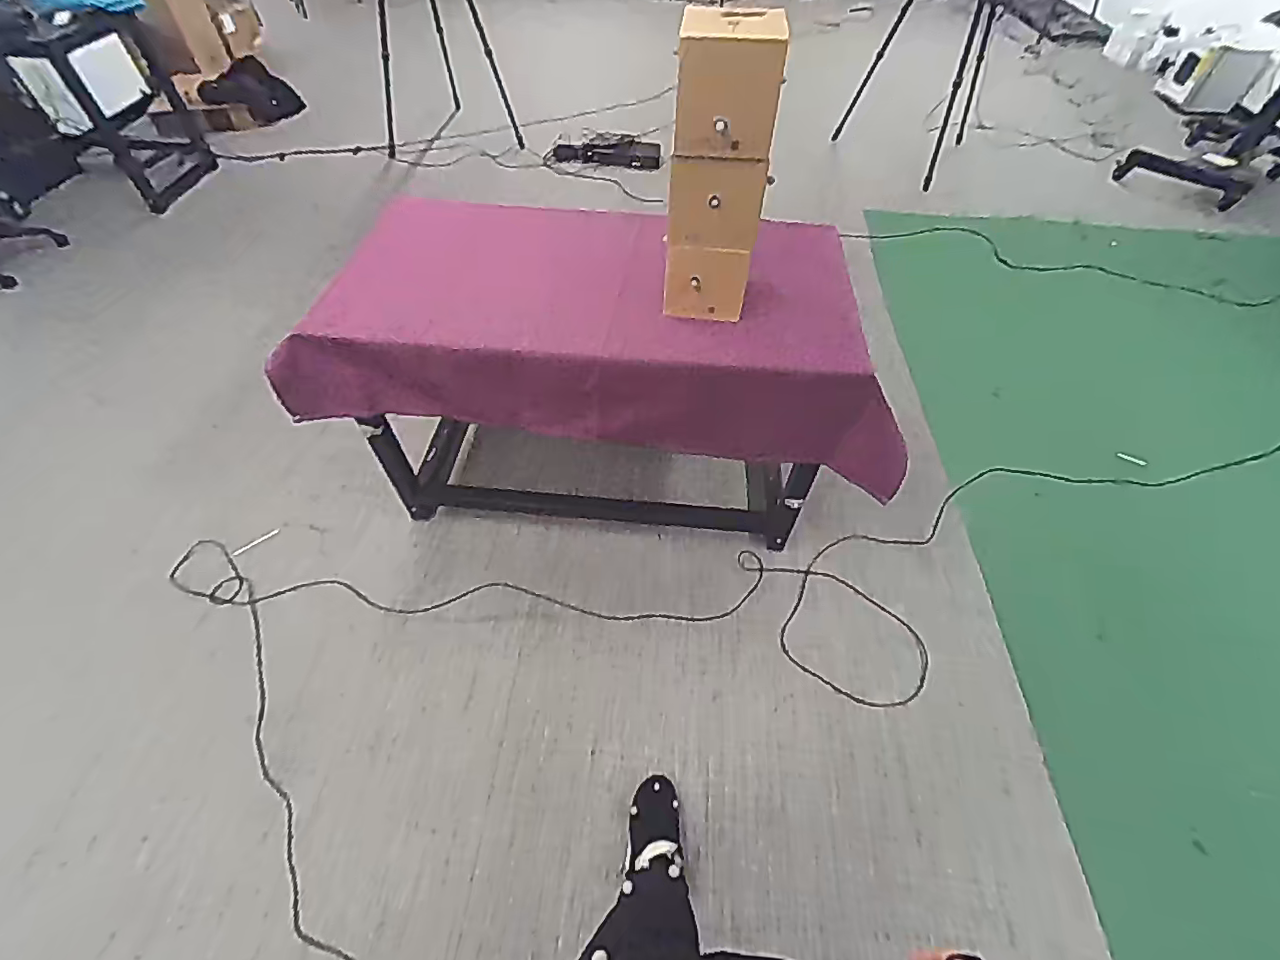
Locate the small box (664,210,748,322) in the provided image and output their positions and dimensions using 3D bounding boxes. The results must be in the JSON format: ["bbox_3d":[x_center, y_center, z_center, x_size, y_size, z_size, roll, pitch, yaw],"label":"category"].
[{"bbox_3d":[0.142,-0.466,1.185,0.168,0.176,0.179,6,51,4],"label":"small box"}]

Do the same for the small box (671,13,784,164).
[{"bbox_3d":[0.143,-0.669,0.925,0.168,0.176,0.179,5,52,4],"label":"small box"}]
